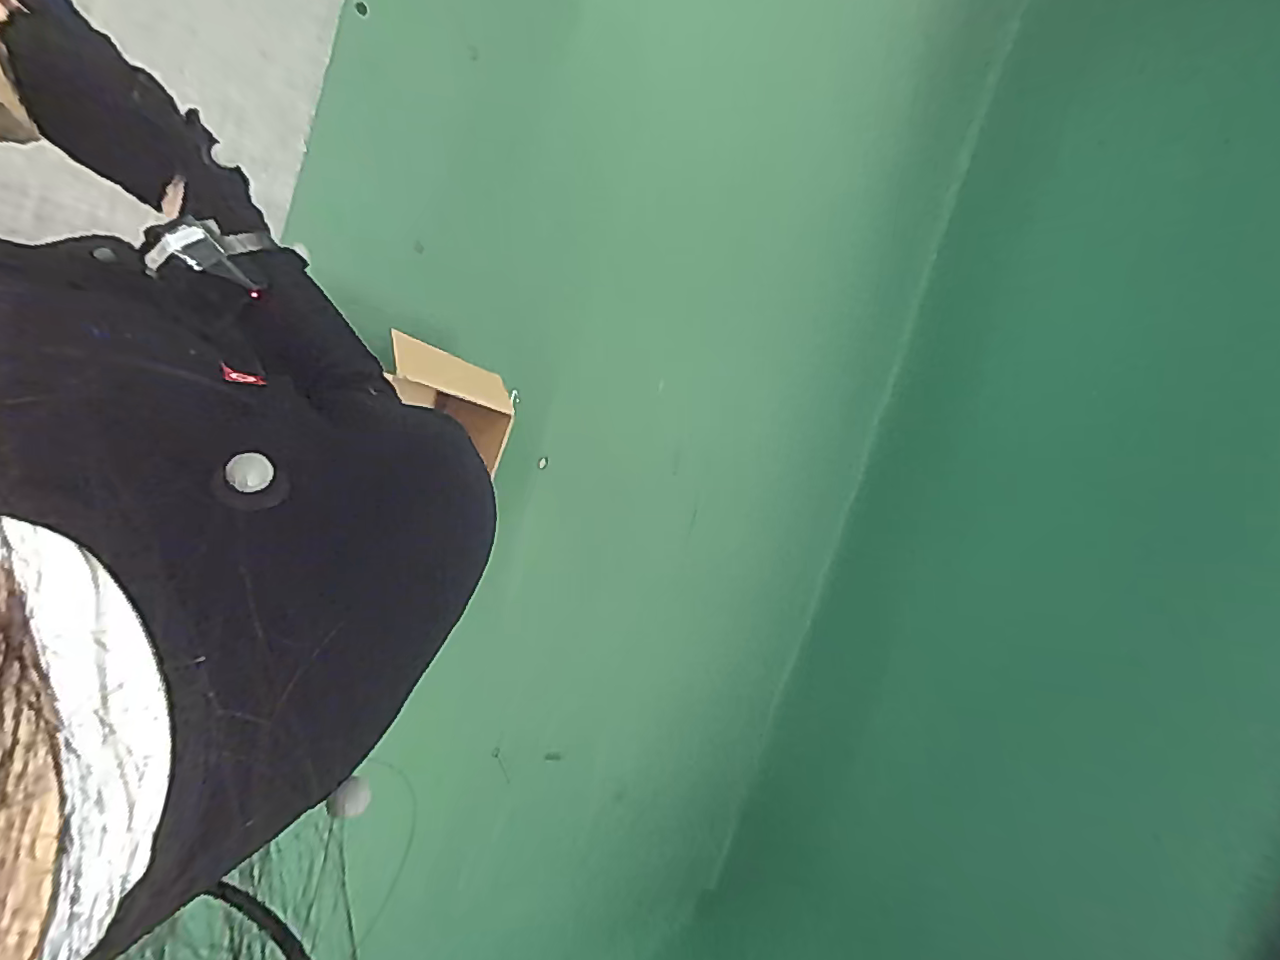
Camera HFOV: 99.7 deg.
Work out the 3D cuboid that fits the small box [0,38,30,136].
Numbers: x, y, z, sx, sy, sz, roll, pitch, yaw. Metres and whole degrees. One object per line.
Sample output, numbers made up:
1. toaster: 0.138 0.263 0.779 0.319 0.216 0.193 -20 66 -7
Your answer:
1. small box: -0.431 -0.269 0.231 0.168 0.176 0.179 -21 112 -32
